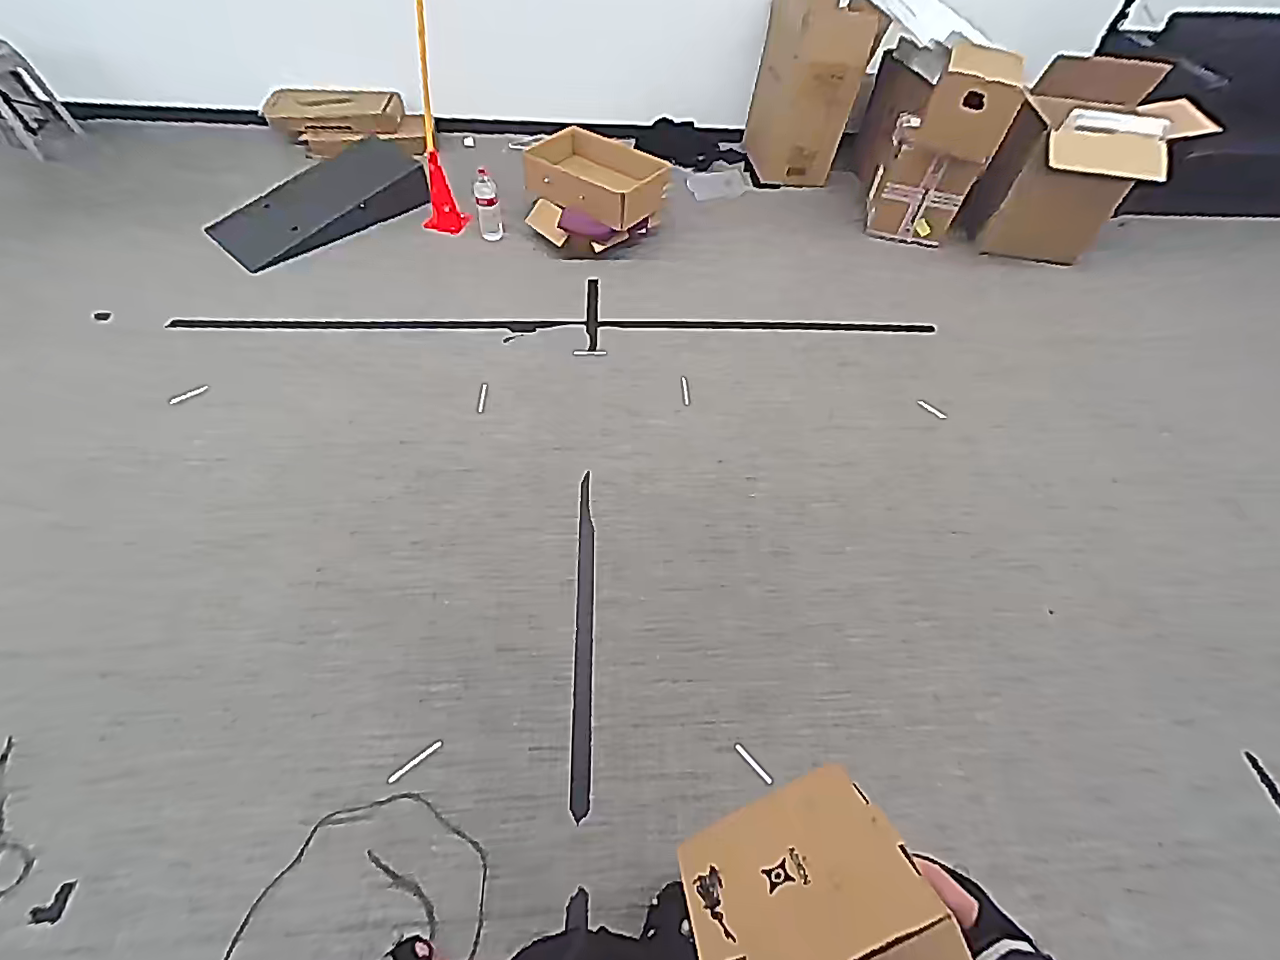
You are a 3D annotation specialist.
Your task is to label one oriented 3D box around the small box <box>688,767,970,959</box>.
[{"bbox_3d":[0.163,0.396,0.455,0.179,0.168,0.176,-25,96,-3],"label":"small box"}]
